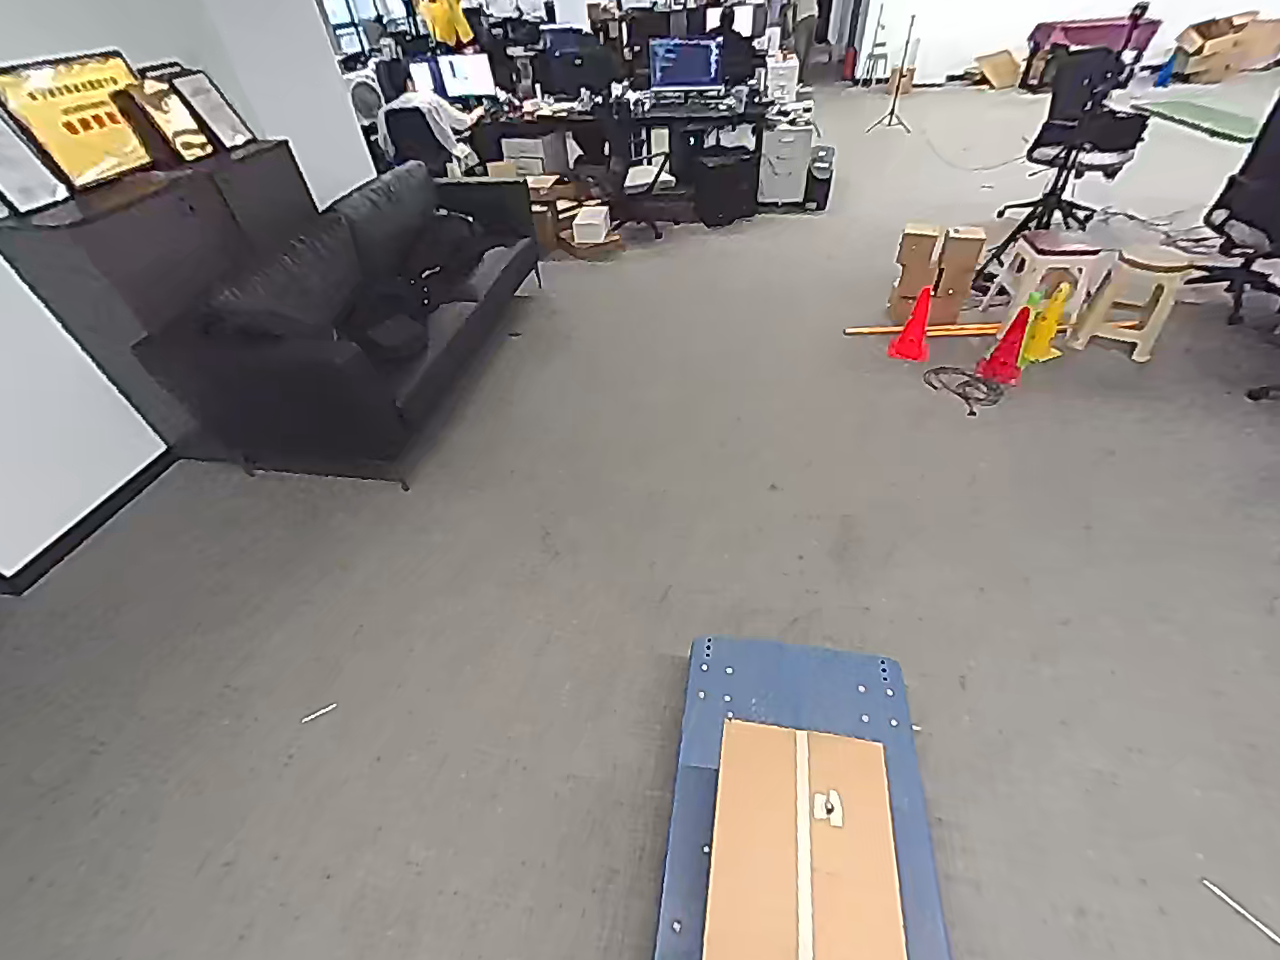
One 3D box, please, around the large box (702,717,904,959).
[{"bbox_3d":[0.294,0.750,1.063,0.320,0.320,0.408,5,43,10],"label":"large box"}]
